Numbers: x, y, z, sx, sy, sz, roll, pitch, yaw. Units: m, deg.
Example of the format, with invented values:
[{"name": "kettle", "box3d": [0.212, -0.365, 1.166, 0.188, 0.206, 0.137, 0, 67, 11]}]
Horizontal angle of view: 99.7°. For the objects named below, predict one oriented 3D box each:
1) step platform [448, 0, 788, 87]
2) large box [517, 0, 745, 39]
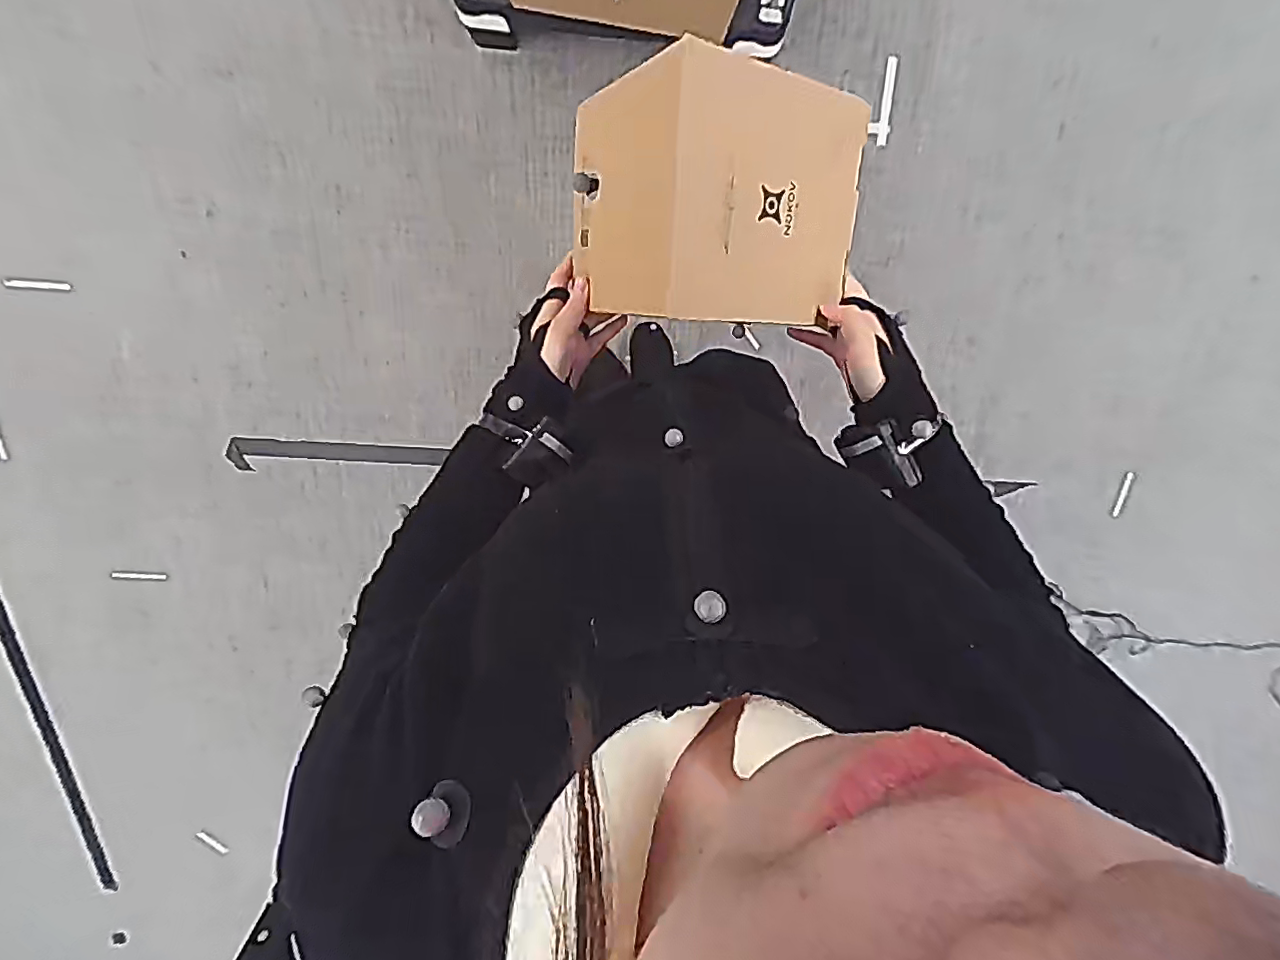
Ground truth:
[{"name": "step platform", "box3d": [-0.041, -1.021, 1.054, 0.684, 0.204, 0.286, 9, 109, -3]}, {"name": "large box", "box3d": [-0.010, -0.943, 0.829, 0.408, 0.320, 0.320, 7, 108, -2]}]
